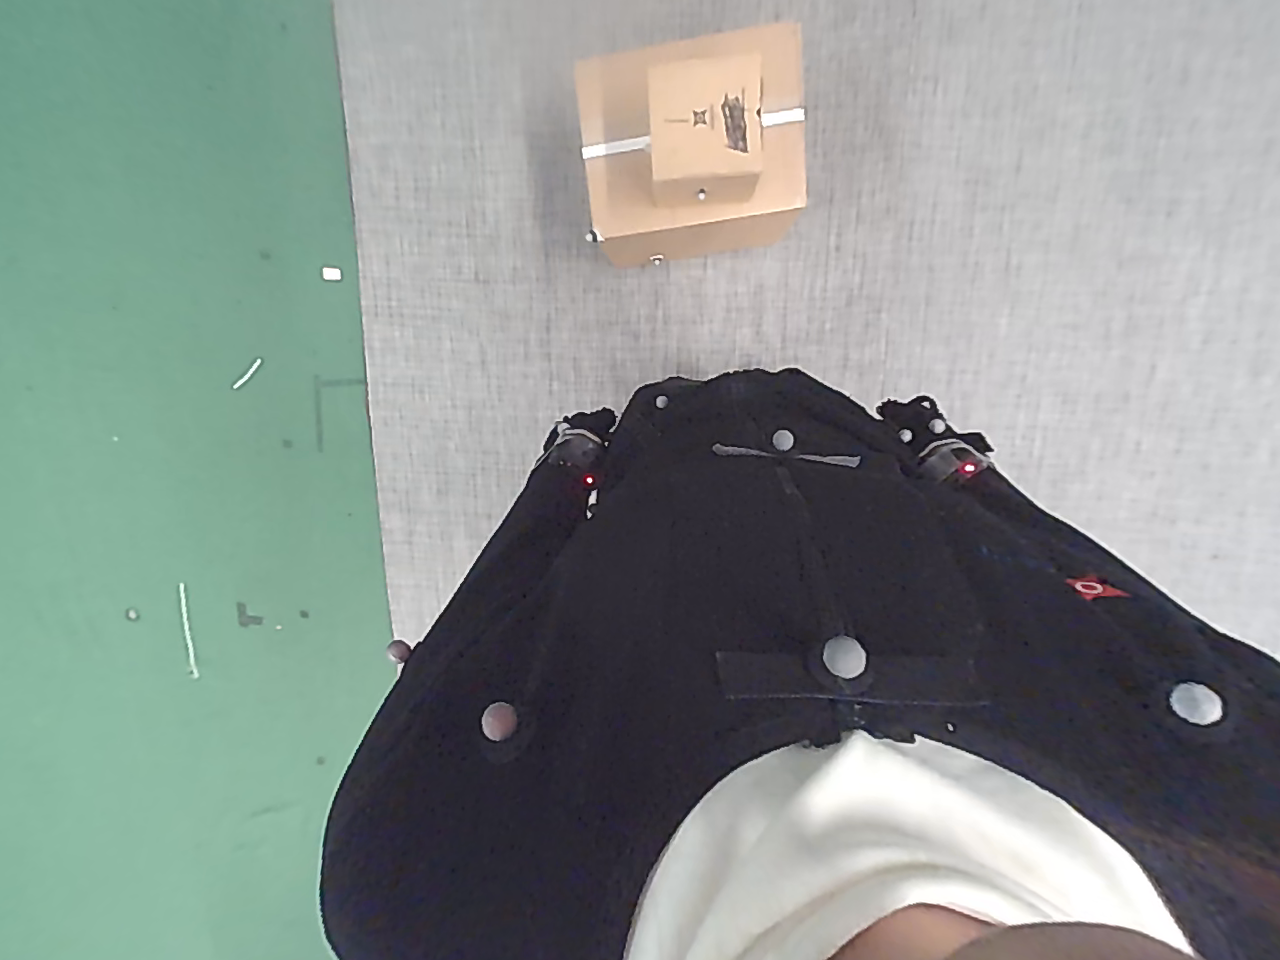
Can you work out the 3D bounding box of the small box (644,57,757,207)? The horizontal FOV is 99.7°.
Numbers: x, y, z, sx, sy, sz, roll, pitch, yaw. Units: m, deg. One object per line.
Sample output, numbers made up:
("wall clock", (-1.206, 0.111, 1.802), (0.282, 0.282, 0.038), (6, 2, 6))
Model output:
("small box", (0.102, -0.582, 0.925), (0.179, 0.176, 0.168), (-2, 102, 6))
